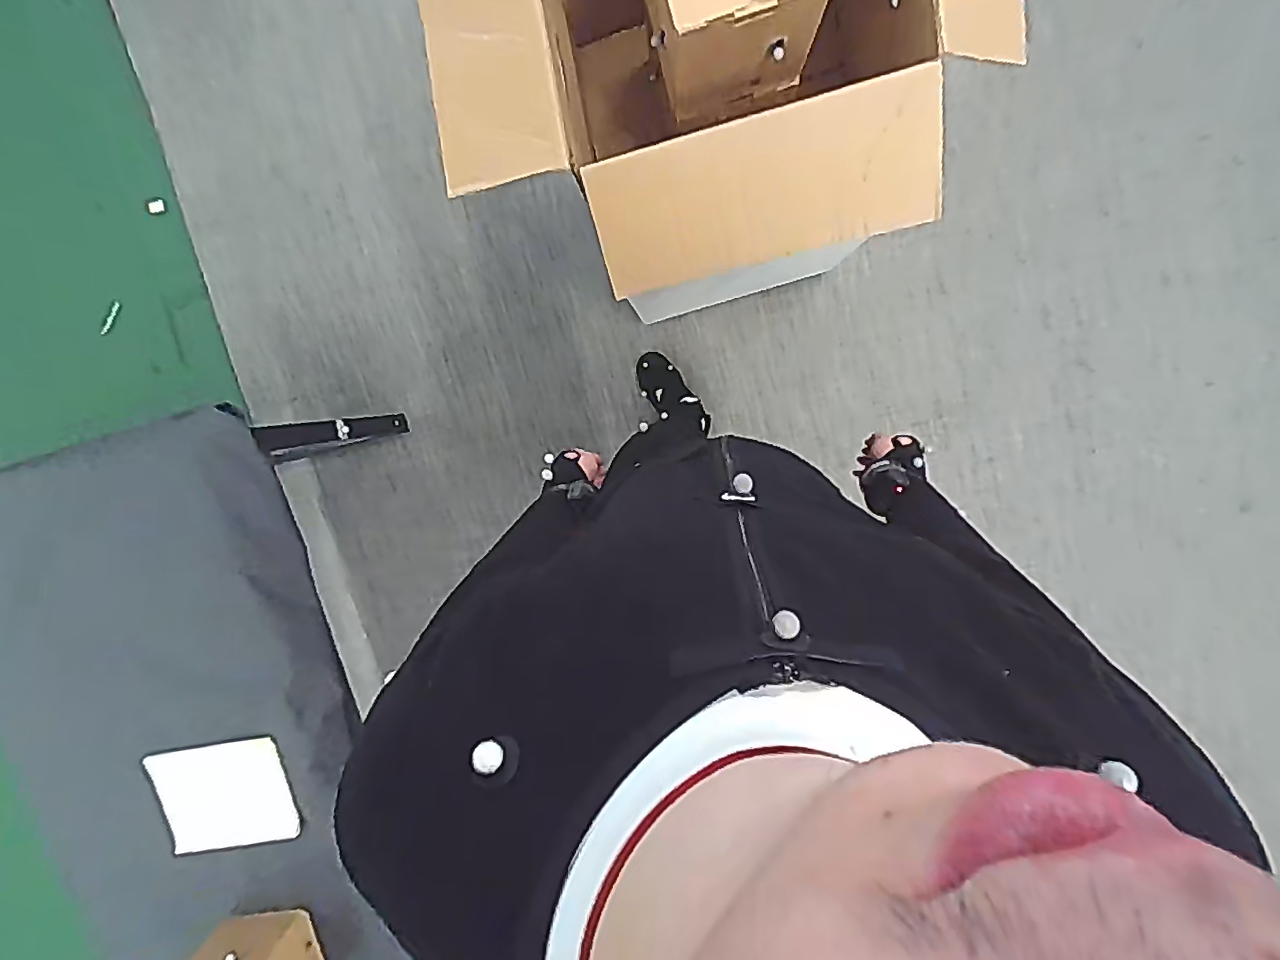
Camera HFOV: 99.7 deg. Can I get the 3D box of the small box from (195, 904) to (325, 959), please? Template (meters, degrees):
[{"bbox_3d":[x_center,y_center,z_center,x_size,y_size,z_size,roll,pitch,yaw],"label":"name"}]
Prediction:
[{"bbox_3d":[-0.705,0.914,0.978,0.179,0.176,0.168,-13,98,8],"label":"small box"}]

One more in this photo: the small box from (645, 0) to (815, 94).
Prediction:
[{"bbox_3d":[0.091,-0.561,0.586,0.168,0.176,0.179,-15,97,5],"label":"small box"}]
